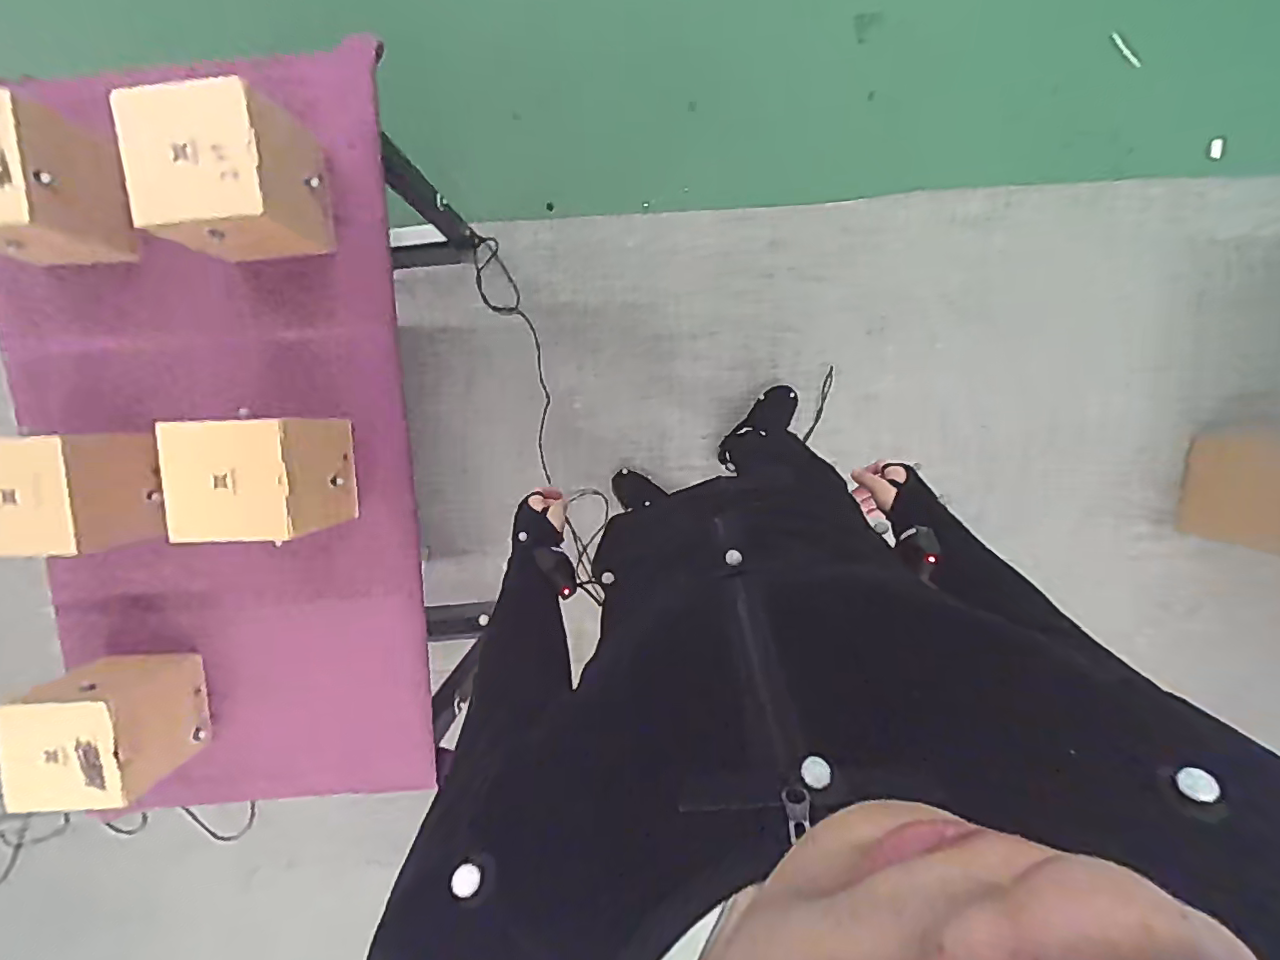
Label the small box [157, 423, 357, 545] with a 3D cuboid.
[{"bbox_3d":[-0.560,-0.001,0.812,0.179,0.176,0.168,-2,97,1],"label":"small box"}]

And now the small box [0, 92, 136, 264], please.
[{"bbox_3d":[-0.878,-0.410,0.760,0.179,0.176,0.168,-3,98,0],"label":"small box"}]

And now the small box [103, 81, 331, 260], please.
[{"bbox_3d":[-0.574,-0.416,0.757,0.179,0.176,0.168,-4,98,0],"label":"small box"}]

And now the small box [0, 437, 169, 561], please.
[{"bbox_3d":[-0.867,0.022,0.816,0.179,0.176,0.168,-1,98,-1],"label":"small box"}]

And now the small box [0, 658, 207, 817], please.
[{"bbox_3d":[-0.833,0.396,0.858,0.179,0.176,0.168,-3,96,0],"label":"small box"}]
